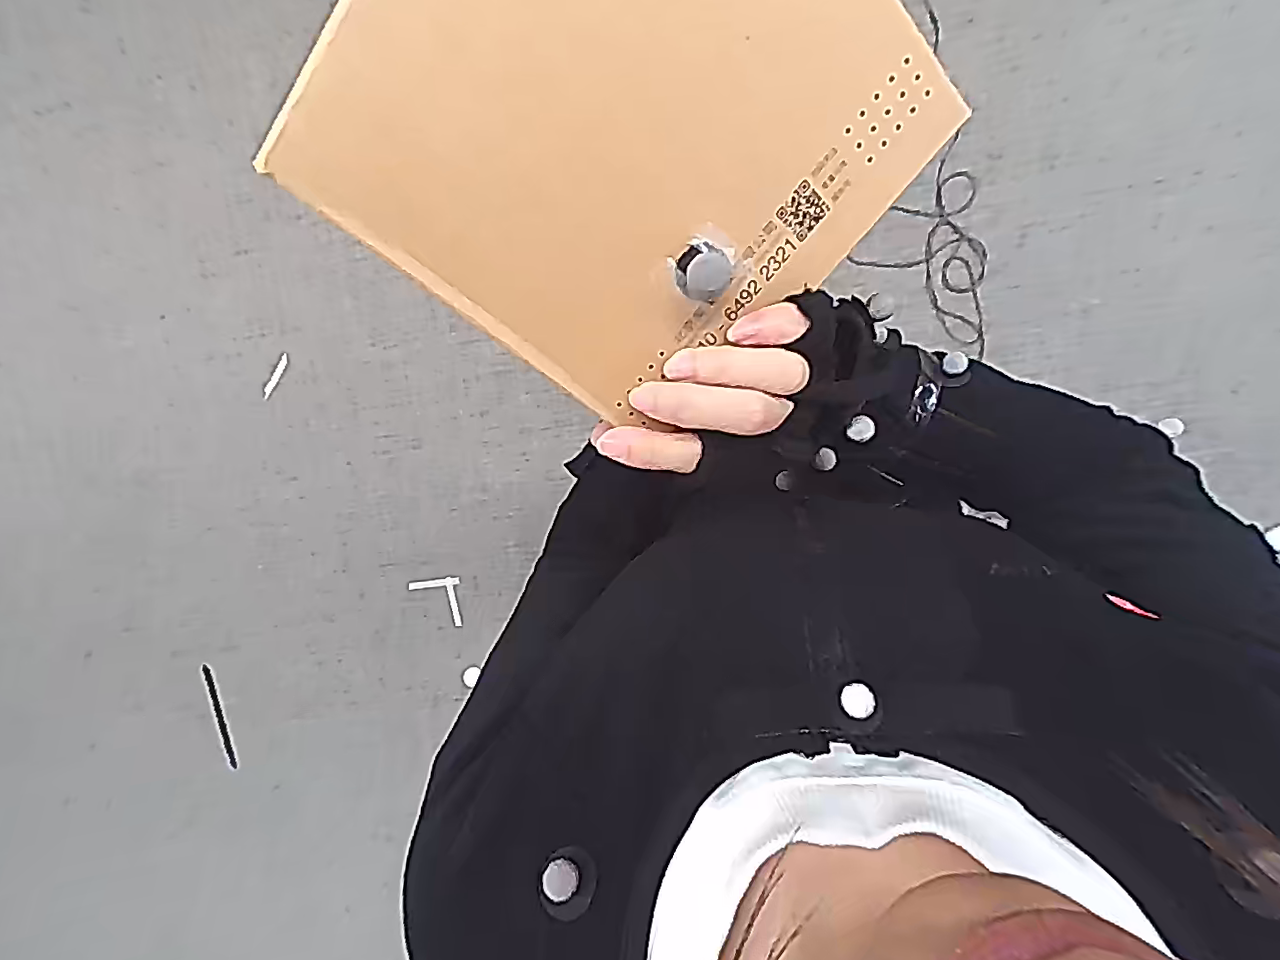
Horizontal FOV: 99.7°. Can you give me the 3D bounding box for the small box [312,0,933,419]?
[{"bbox_3d":[-0.009,-0.155,0.264,0.176,0.179,0.168,34,105,-24],"label":"small box"}]
